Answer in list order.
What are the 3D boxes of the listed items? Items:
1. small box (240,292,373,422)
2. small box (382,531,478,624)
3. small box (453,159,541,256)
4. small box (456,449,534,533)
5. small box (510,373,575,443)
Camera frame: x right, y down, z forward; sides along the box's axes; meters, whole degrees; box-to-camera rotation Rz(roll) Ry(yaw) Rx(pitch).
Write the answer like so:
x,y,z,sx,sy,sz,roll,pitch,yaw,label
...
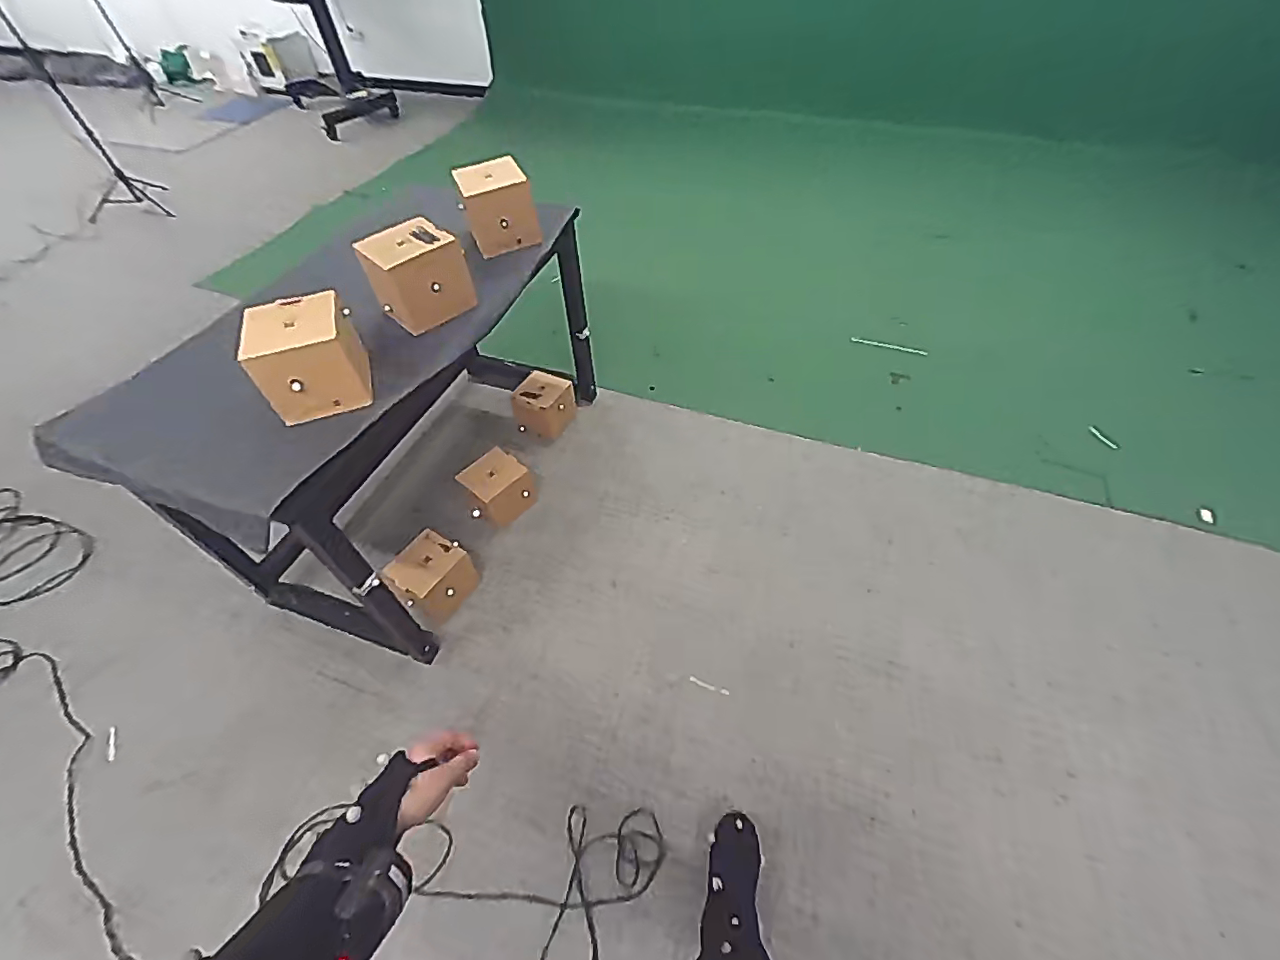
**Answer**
x,y,z,sx,sy,sz,roll,pitch,yaw,label
-0.643,-0.234,1.061,0.168,0.176,0.179,-18,52,-12,small box
-0.602,0.288,1.573,0.168,0.176,0.179,26,56,21,small box
-0.377,-0.721,1.446,0.168,0.176,0.179,-21,52,-11,small box
-0.465,0.039,1.773,0.168,0.176,0.179,33,60,26,small box
-0.357,-0.266,2.019,0.168,0.176,0.179,20,53,17,small box
